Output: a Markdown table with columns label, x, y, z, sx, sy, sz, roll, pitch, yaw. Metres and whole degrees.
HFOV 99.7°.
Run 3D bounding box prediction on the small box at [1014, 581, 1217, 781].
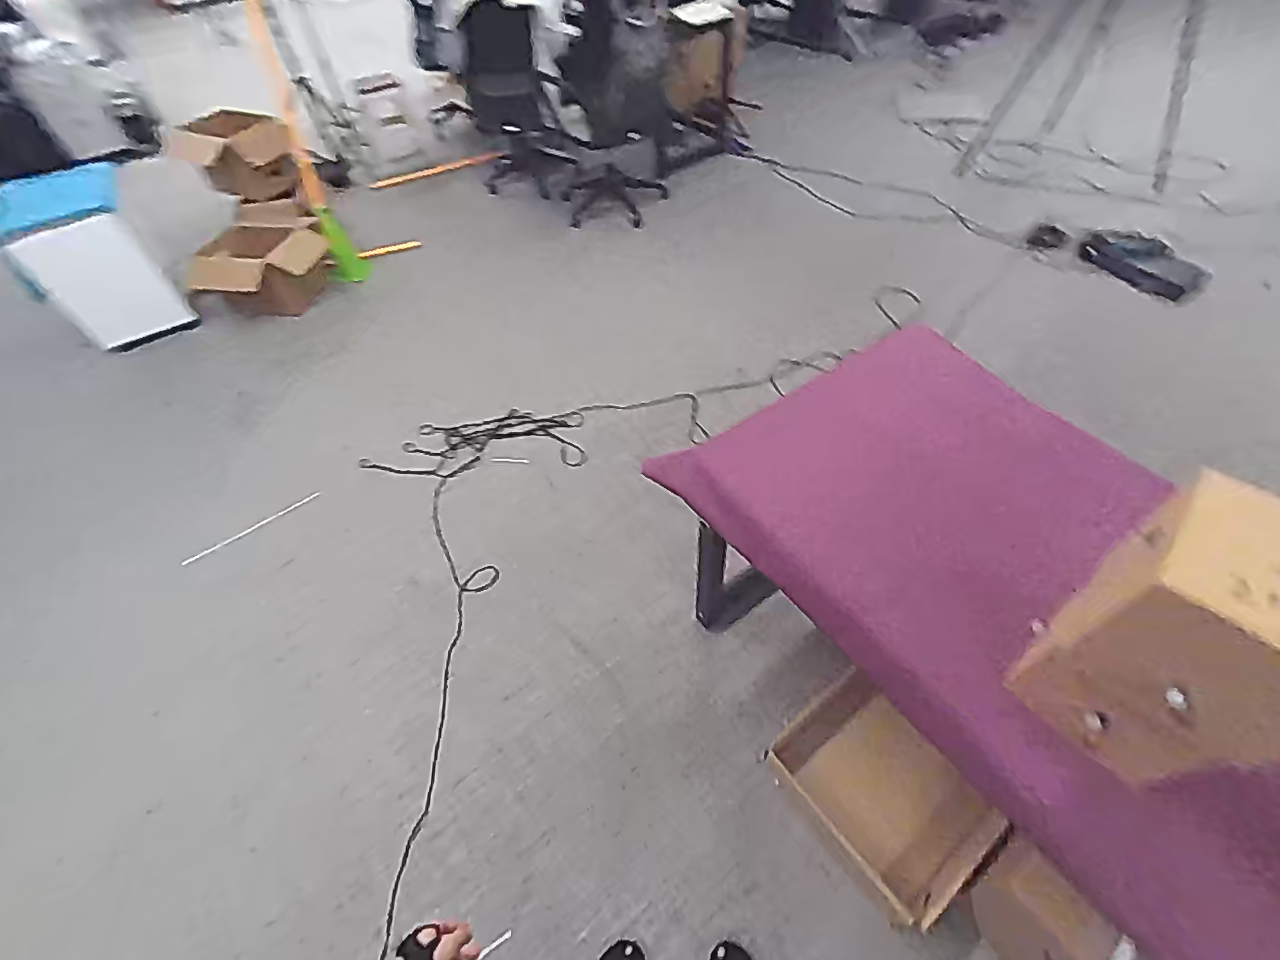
| label | x | y | z | sx | sy | sz | roll | pitch | yaw |
| --- | --- | --- | --- | --- | --- | --- | --- | --- | --- |
| small box | 0.600 | 0.227 | 0.656 | 0.179 | 0.176 | 0.168 | -34 | 56 | -22 |

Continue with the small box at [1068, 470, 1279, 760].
| label | x | y | z | sx | sy | sz | roll | pitch | yaw |
| --- | --- | --- | --- | --- | --- | --- | --- | --- | --- |
| small box | 0.568 | 0.130 | 0.524 | 0.168 | 0.176 | 0.179 | 36 | 61 | 29 |
